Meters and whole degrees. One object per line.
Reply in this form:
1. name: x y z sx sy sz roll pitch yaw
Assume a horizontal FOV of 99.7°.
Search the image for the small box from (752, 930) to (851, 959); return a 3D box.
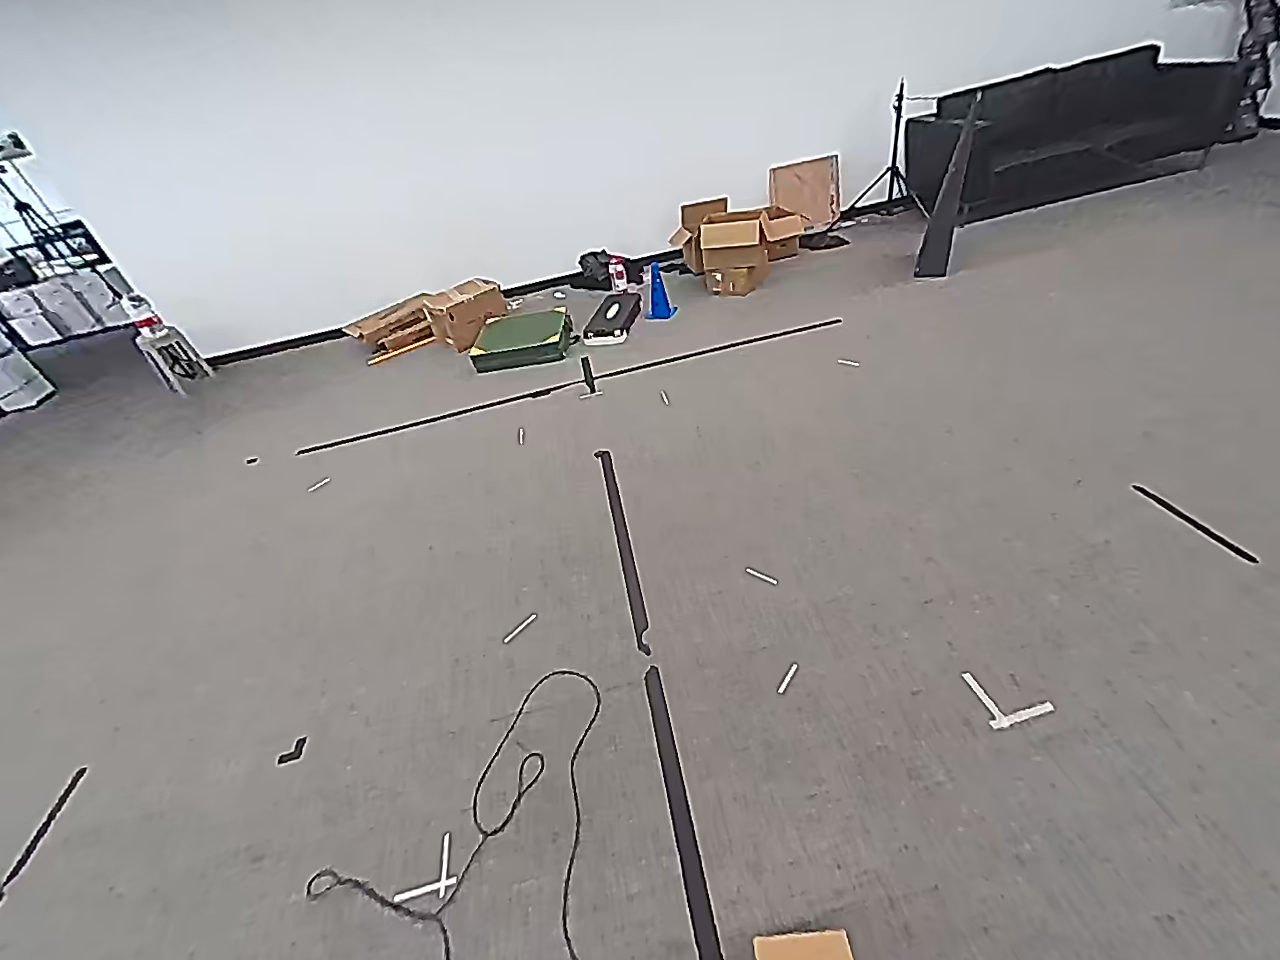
1. small box: 0.312 0.971 1.008 0.179 0.176 0.168 -8 38 4
